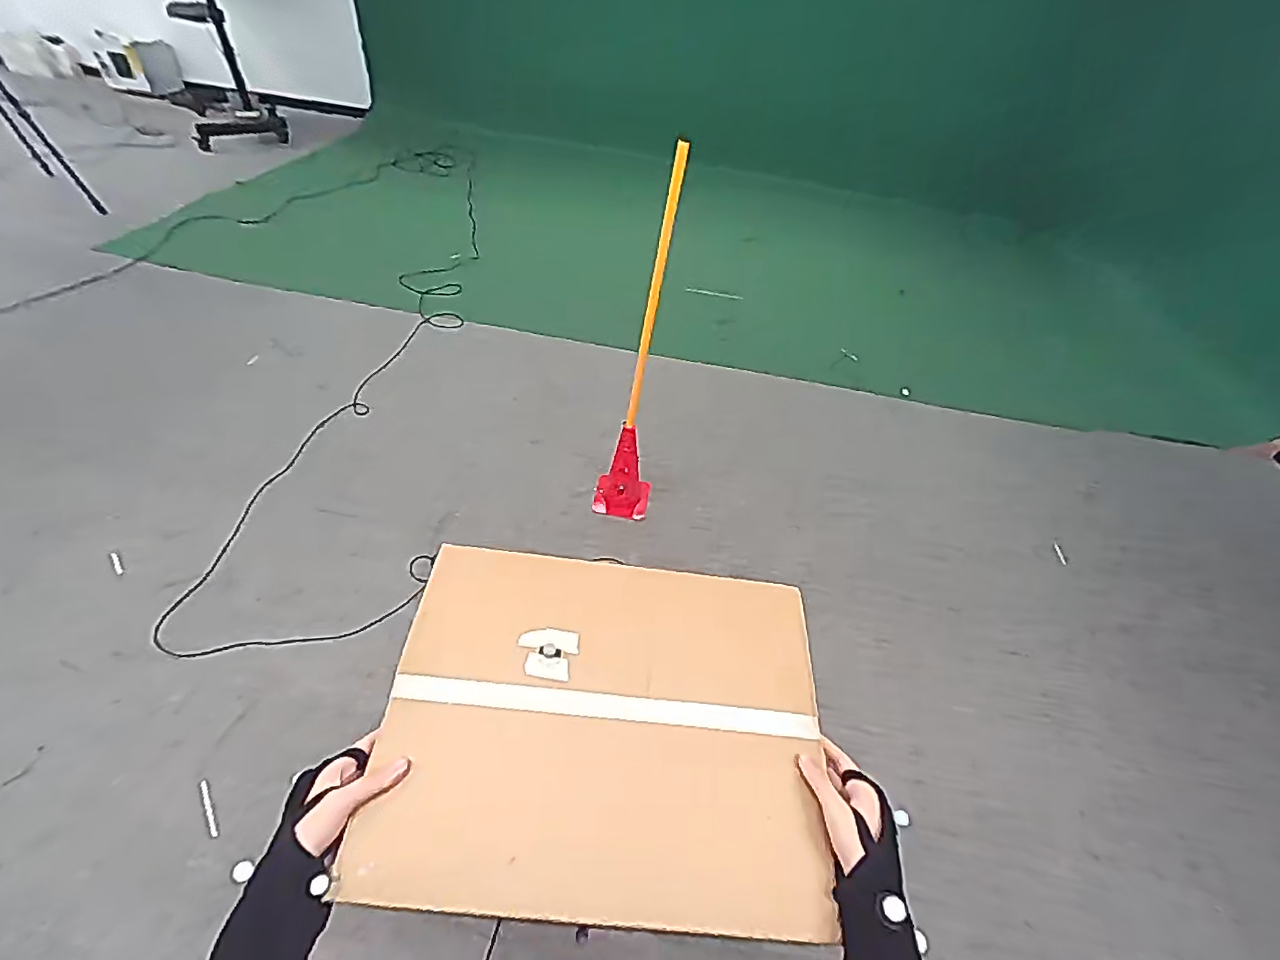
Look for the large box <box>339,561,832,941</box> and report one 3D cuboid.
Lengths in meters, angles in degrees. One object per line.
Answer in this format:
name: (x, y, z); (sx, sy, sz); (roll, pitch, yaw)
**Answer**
large box: (-0.045, 0.321, 0.638); (0.408, 0.320, 0.320); (7, 50, -2)
